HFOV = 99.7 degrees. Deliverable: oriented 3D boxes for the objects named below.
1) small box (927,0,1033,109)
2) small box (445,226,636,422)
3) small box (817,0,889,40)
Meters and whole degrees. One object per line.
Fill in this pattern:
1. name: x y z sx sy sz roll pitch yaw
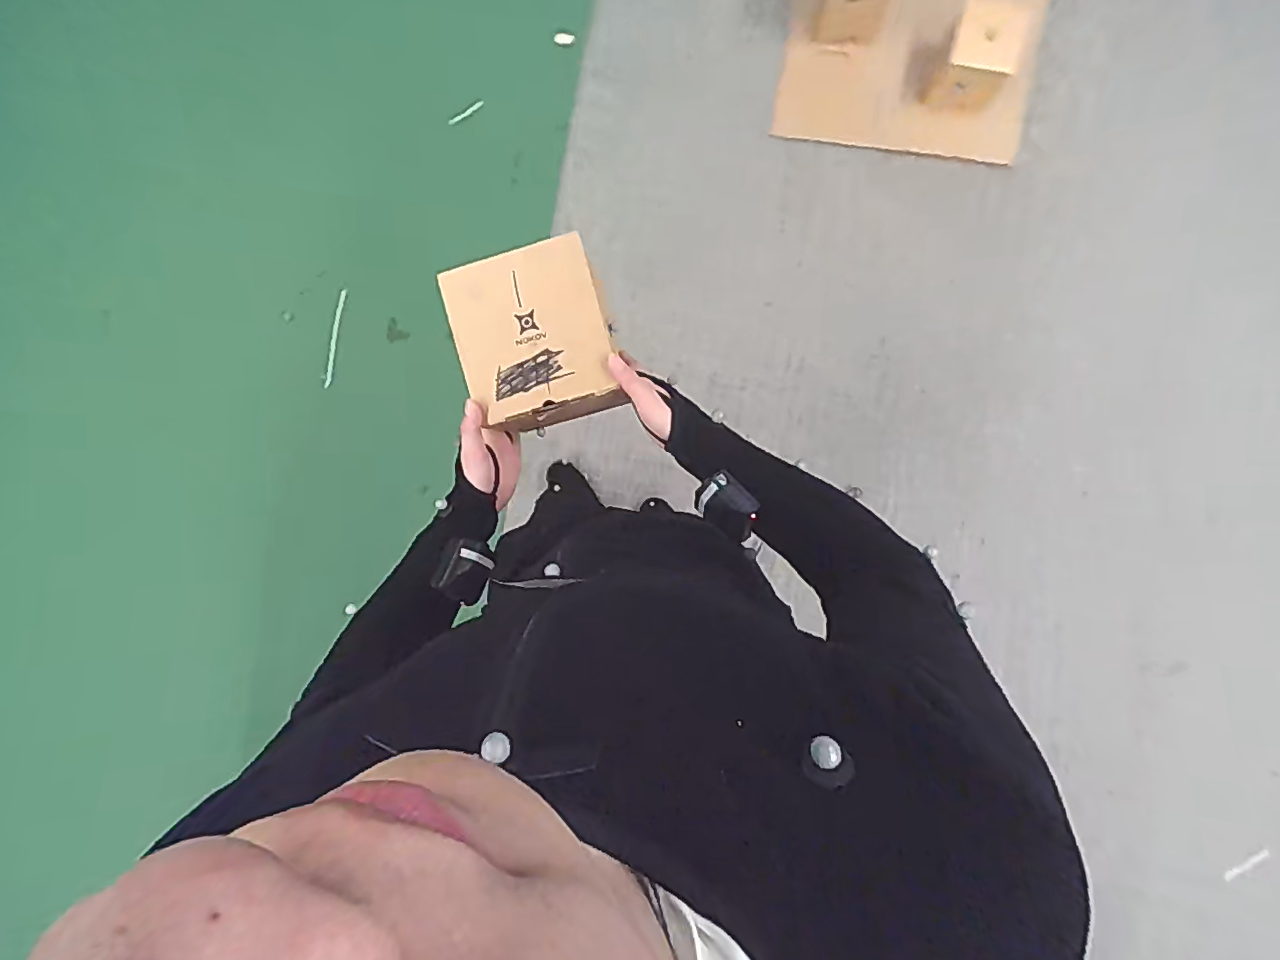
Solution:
1. small box: 0.890 -1.130 1.434 0.168 0.176 0.179 14 90 6
2. small box: -0.106 -0.171 0.658 0.168 0.176 0.179 -14 91 5
3. small box: 0.585 -1.350 1.467 0.168 0.176 0.179 4 90 6
